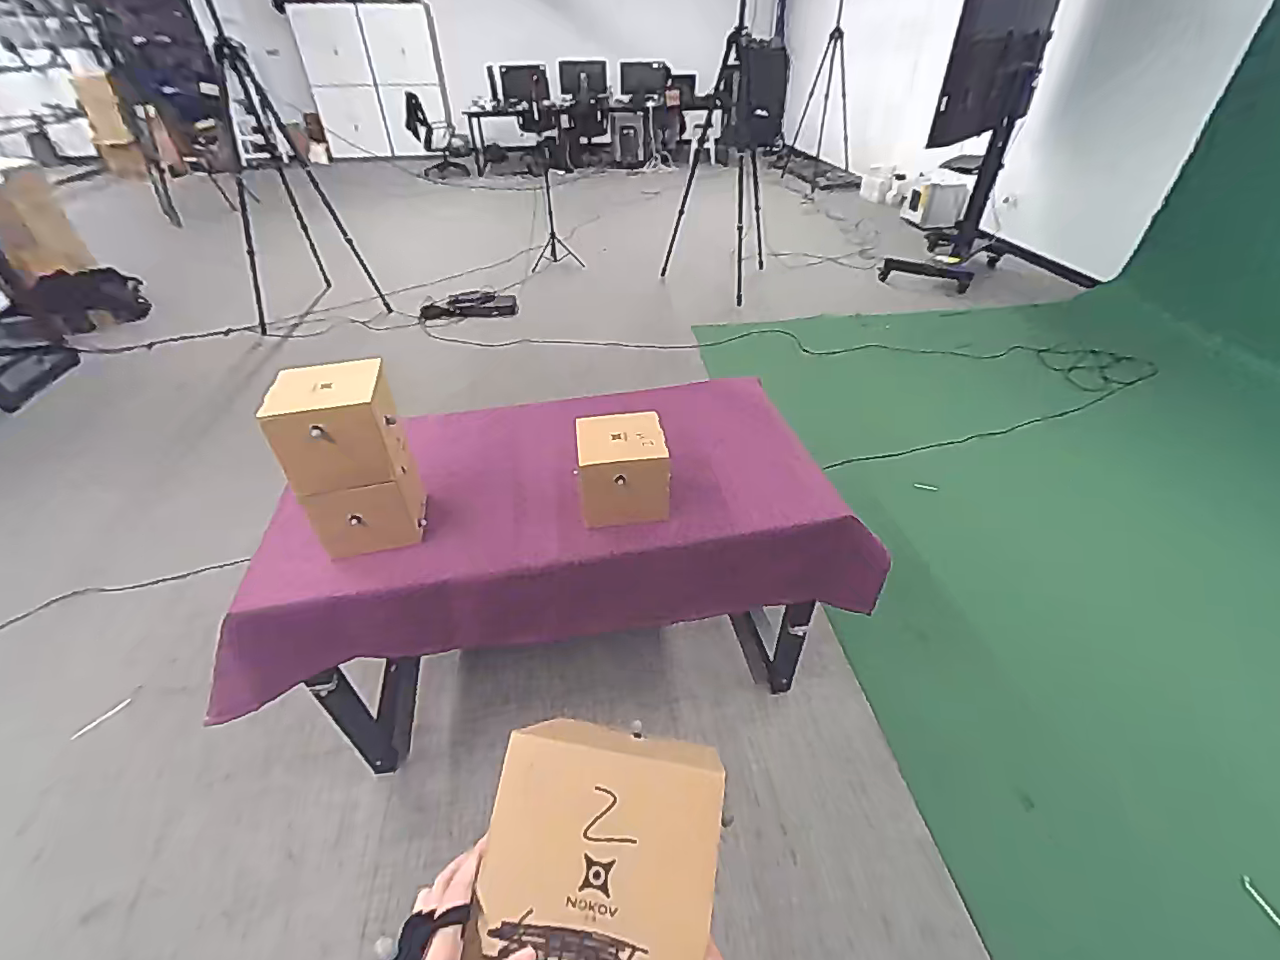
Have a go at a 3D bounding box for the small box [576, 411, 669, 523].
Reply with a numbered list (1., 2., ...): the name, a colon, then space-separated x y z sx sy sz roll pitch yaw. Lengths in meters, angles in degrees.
1. small box: -0.036 -0.025 1.125 0.179 0.176 0.168 -5 40 -5

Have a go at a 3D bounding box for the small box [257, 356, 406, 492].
1. small box: -0.536 -0.101 0.973 0.179 0.176 0.168 -10 40 -10

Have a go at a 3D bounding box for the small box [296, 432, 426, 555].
1. small box: -0.538 0.025 1.076 0.179 0.176 0.168 -10 40 -9
